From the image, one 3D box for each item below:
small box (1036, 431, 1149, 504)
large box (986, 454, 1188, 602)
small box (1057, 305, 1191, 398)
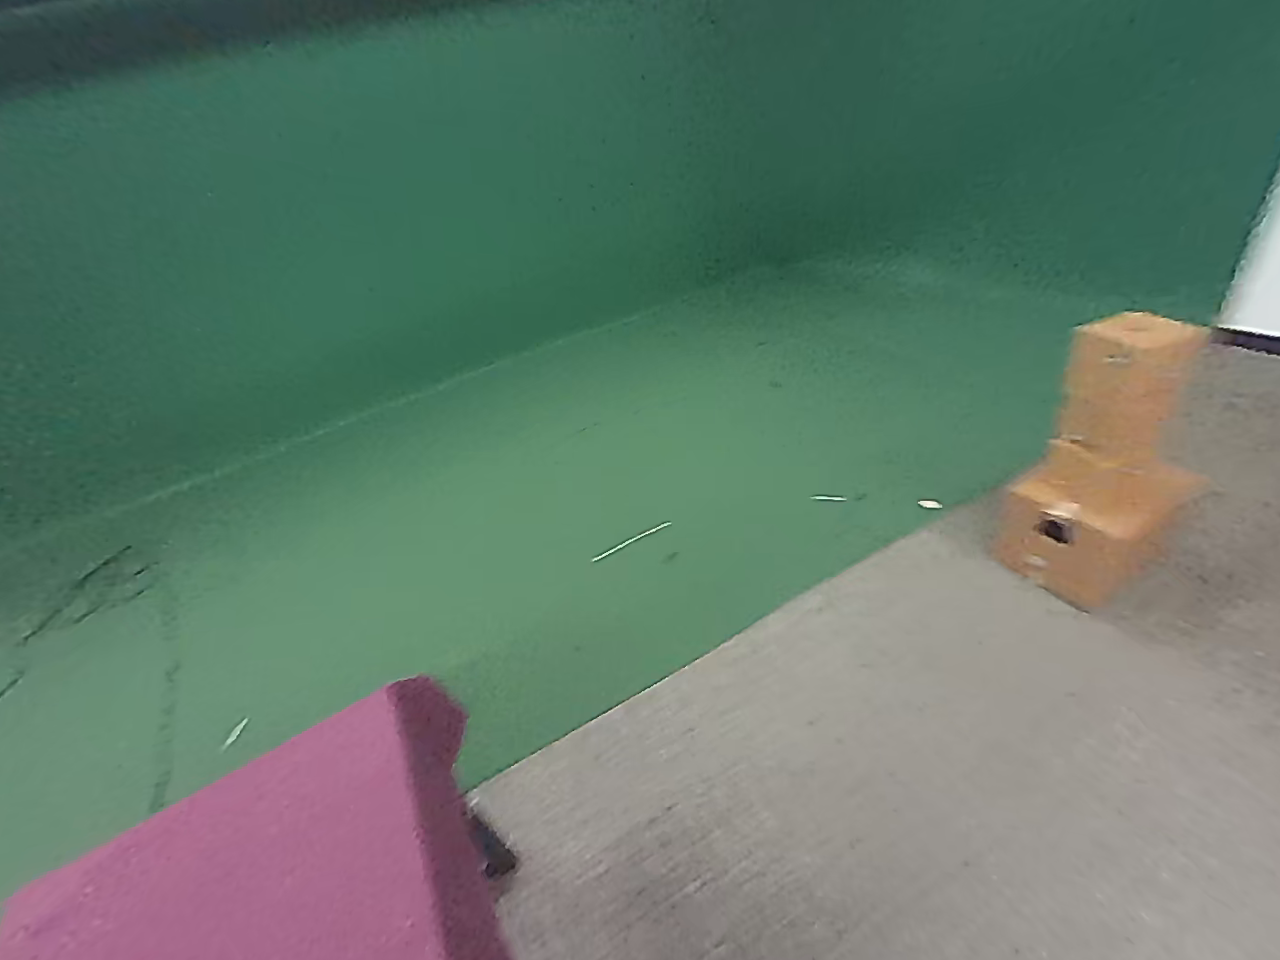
[{"bbox_3d":[1.304,-0.060,1.574,0.179,0.176,0.168,-20,36,-7],"label":"small box"},{"bbox_3d":[1.399,0.112,1.726,0.408,0.320,0.320,-26,38,-17],"label":"large box"},{"bbox_3d":[1.236,-0.326,1.397,0.168,0.176,0.179,-17,35,-4],"label":"small box"}]
